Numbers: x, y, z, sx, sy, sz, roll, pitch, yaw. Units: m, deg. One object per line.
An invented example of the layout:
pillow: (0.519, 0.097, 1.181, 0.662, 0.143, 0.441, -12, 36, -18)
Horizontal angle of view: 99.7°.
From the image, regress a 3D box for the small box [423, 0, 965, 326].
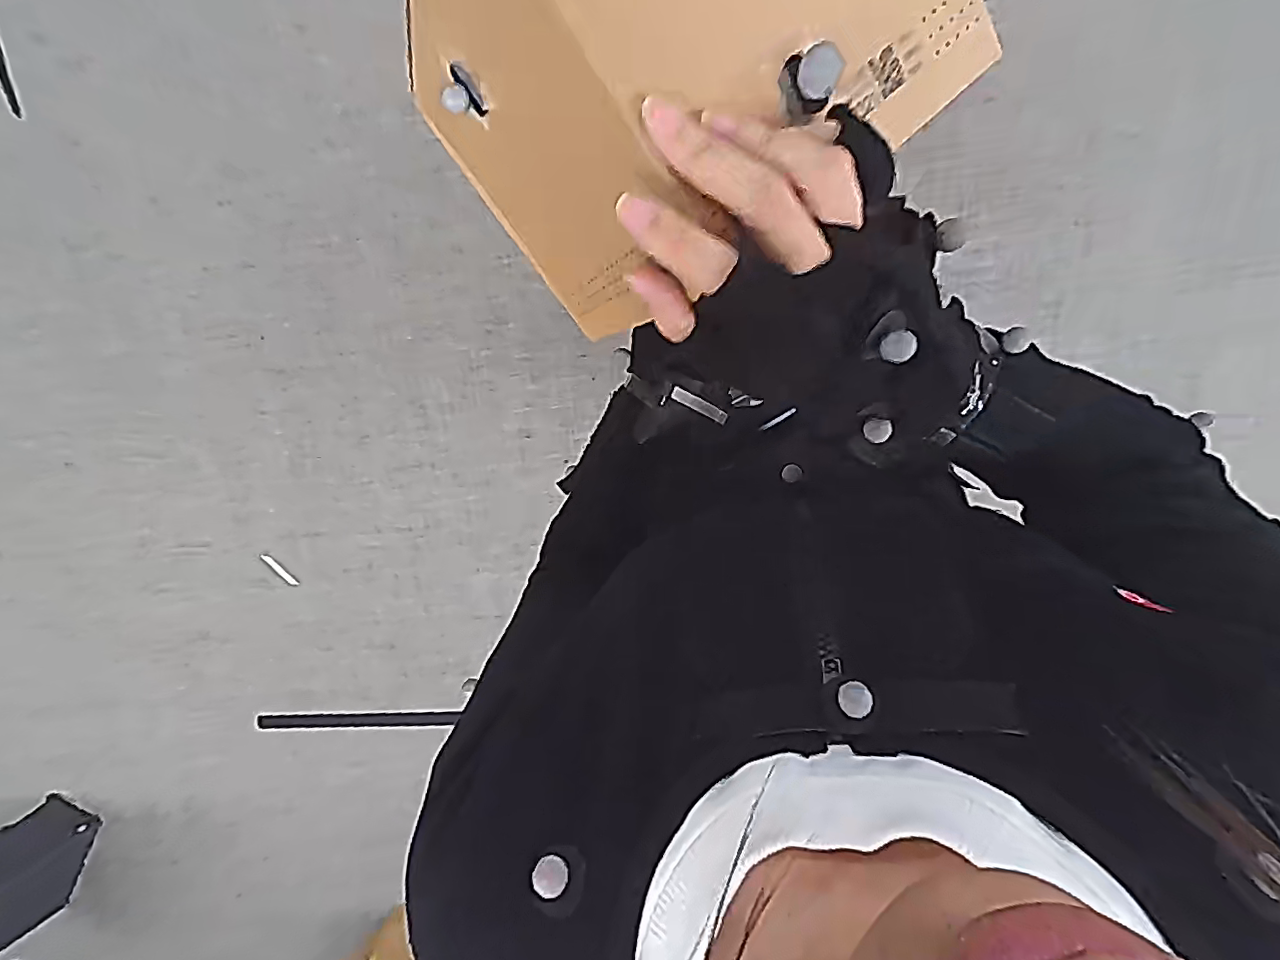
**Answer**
small box: (0.014, -0.198, 0.276, 0.168, 0.179, 0.176, -43, 110, -10)
